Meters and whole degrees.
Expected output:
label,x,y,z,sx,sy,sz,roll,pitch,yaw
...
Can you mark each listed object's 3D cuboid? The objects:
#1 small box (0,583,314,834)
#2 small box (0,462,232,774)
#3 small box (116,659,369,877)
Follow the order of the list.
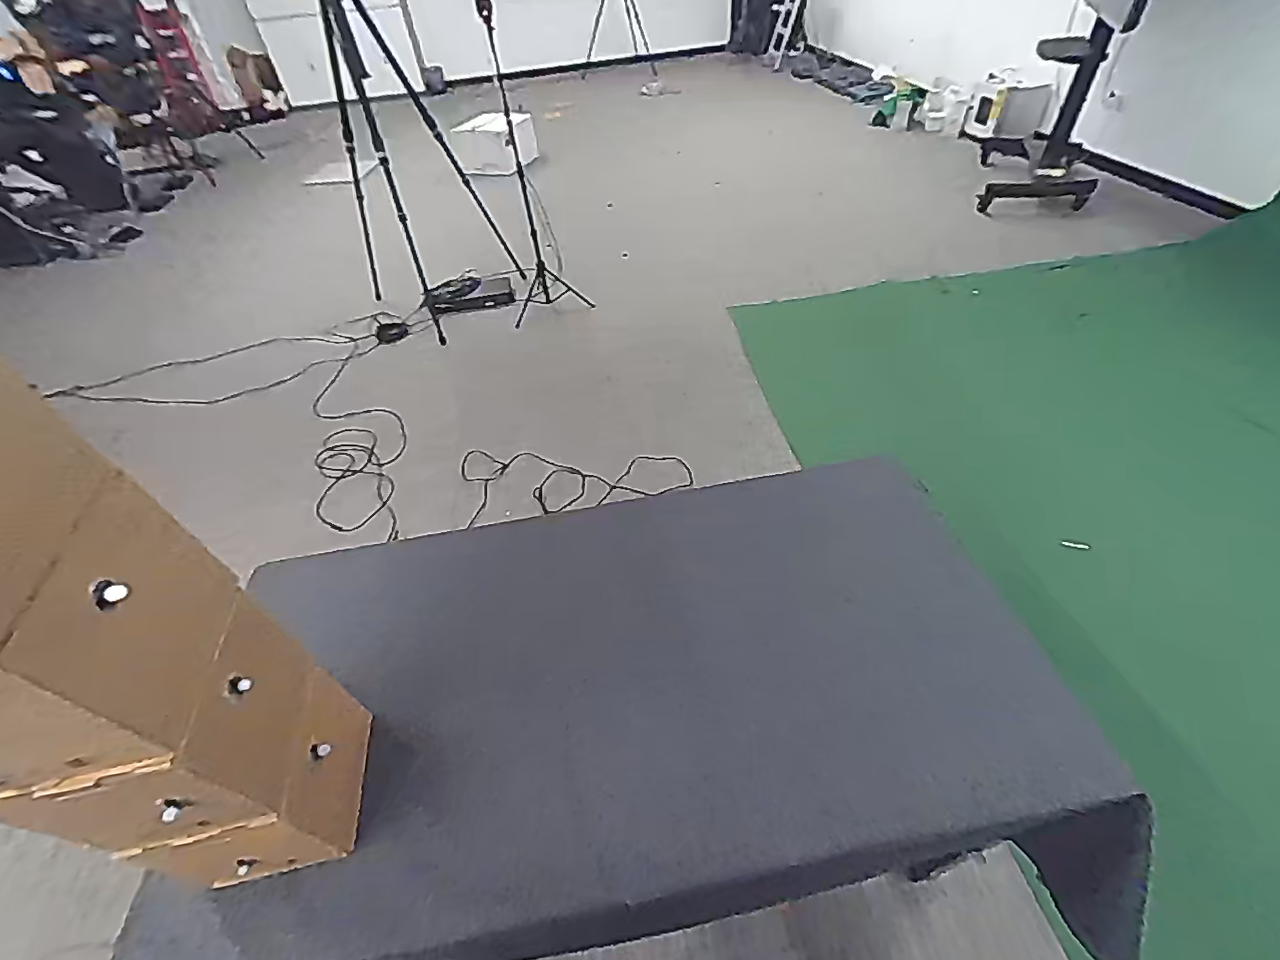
label,x,y,z,sx,sy,sz,roll,pitch,yaw
small box,-0.464,0.234,0.545,0.168,0.176,0.179,-10,46,-5
small box,-0.476,0.115,0.433,0.168,0.176,0.179,-10,46,-6
small box,-0.454,0.350,0.659,0.168,0.176,0.179,-11,46,-5
